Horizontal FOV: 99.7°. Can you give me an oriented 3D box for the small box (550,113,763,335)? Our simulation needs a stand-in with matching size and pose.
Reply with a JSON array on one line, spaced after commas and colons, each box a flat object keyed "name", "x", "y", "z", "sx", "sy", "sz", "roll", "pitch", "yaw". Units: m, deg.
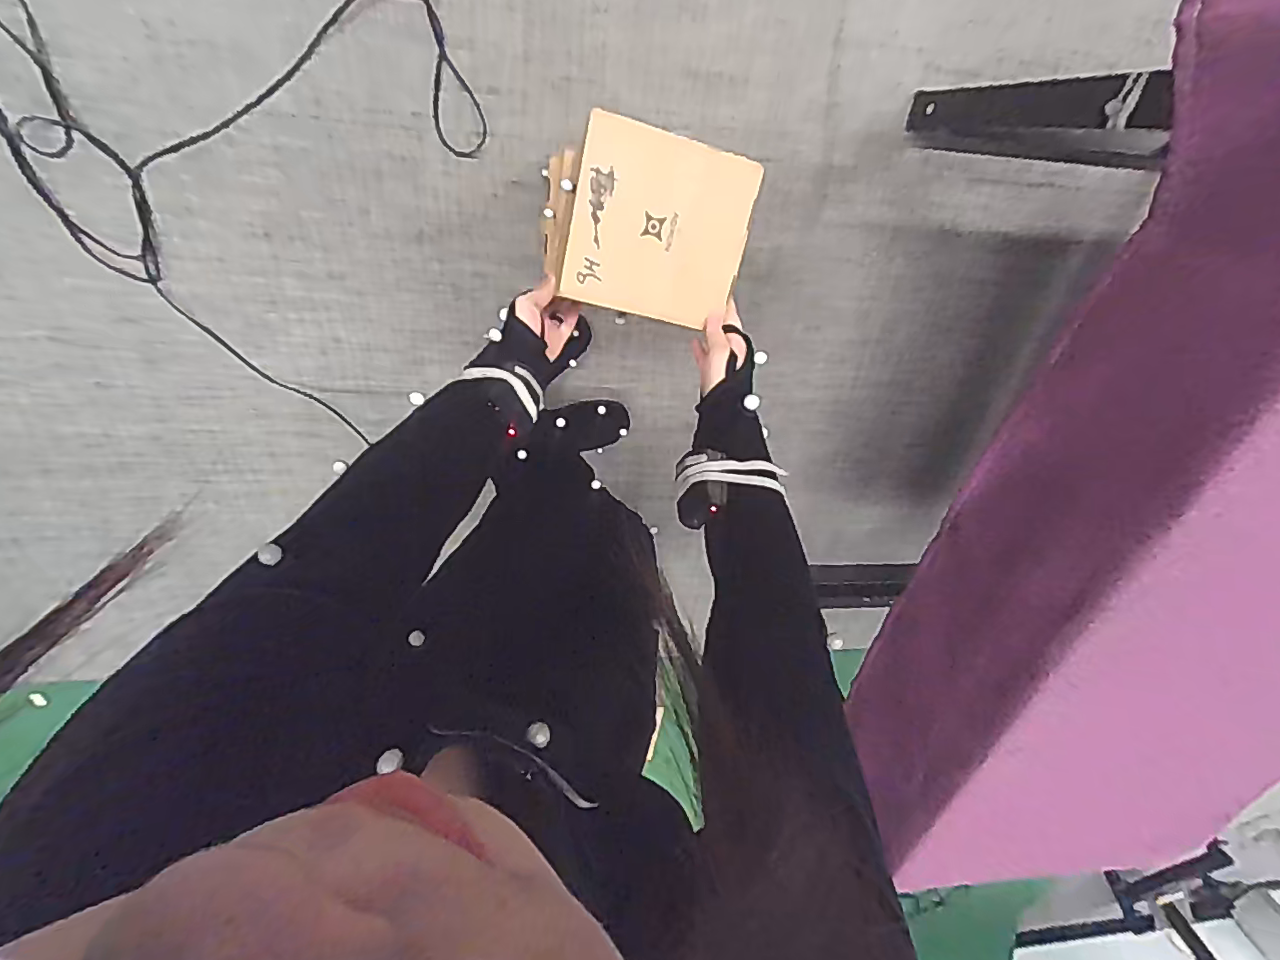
[{"name": "small box", "x": 0.004, "y": -0.270, "z": 0.603, "sx": 0.179, "sy": 0.176, "sz": 0.168, "roll": 9, "pitch": 108, "yaw": -16}]

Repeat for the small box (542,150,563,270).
[{"name": "small box", "x": -0.068, "y": -0.439, "z": 0.898, "sx": 0.179, "sy": 0.176, "sz": 0.168, "roll": 3, "pitch": 124, "yaw": -11}]

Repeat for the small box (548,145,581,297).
[{"name": "small box", "x": -0.038, "y": -0.354, "z": 0.759, "sx": 0.168, "sy": 0.176, "sz": 0.179, "roll": 6, "pitch": 123, "yaw": -12}]
